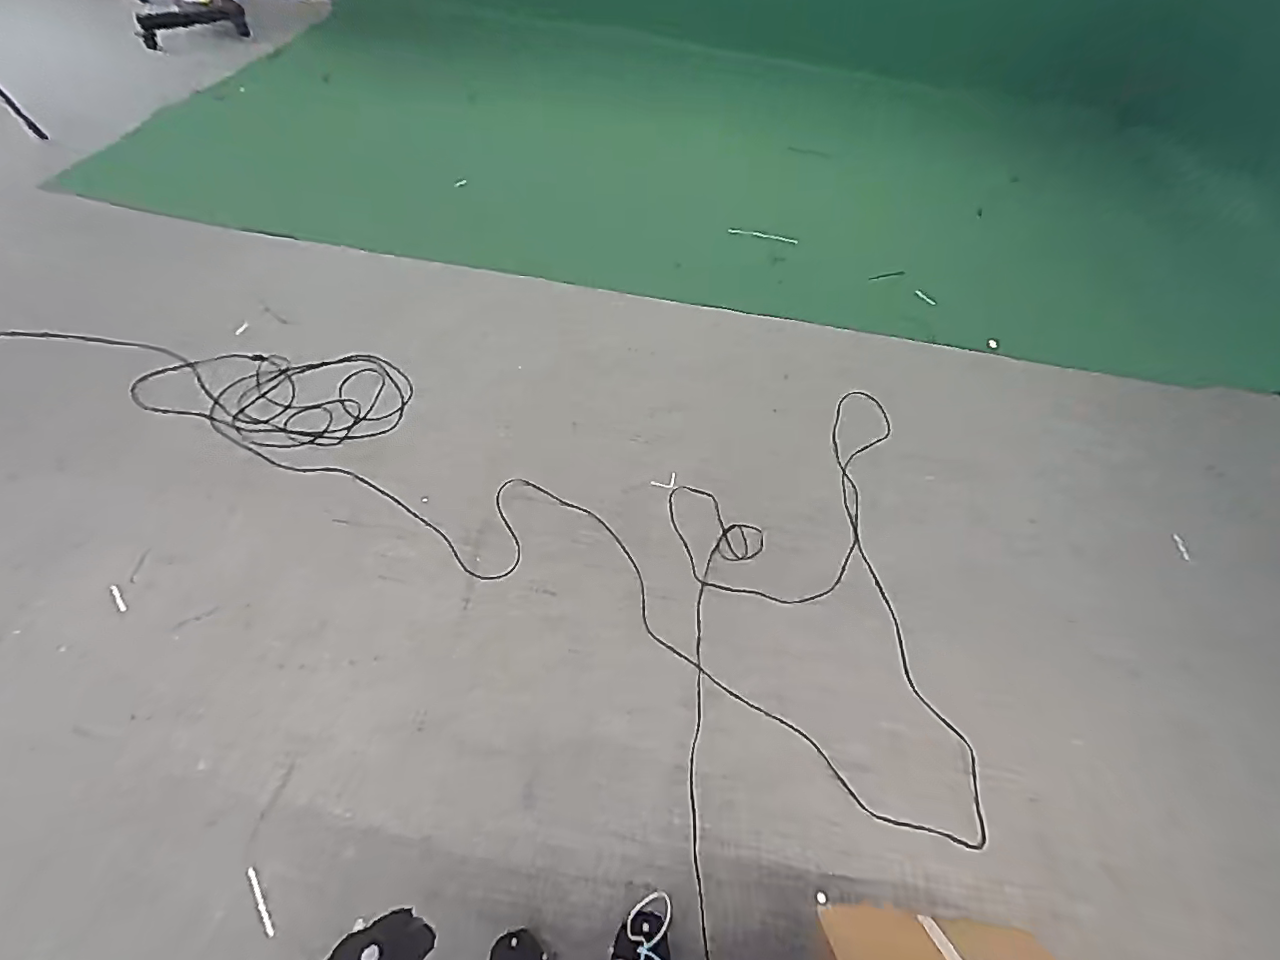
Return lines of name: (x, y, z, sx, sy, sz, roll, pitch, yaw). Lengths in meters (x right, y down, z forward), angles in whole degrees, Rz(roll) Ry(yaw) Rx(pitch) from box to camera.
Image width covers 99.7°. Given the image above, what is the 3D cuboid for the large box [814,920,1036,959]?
large box: (0.396, 0.797, 0.593, 0.320, 0.408, 0.320, 5, 82, 4)
